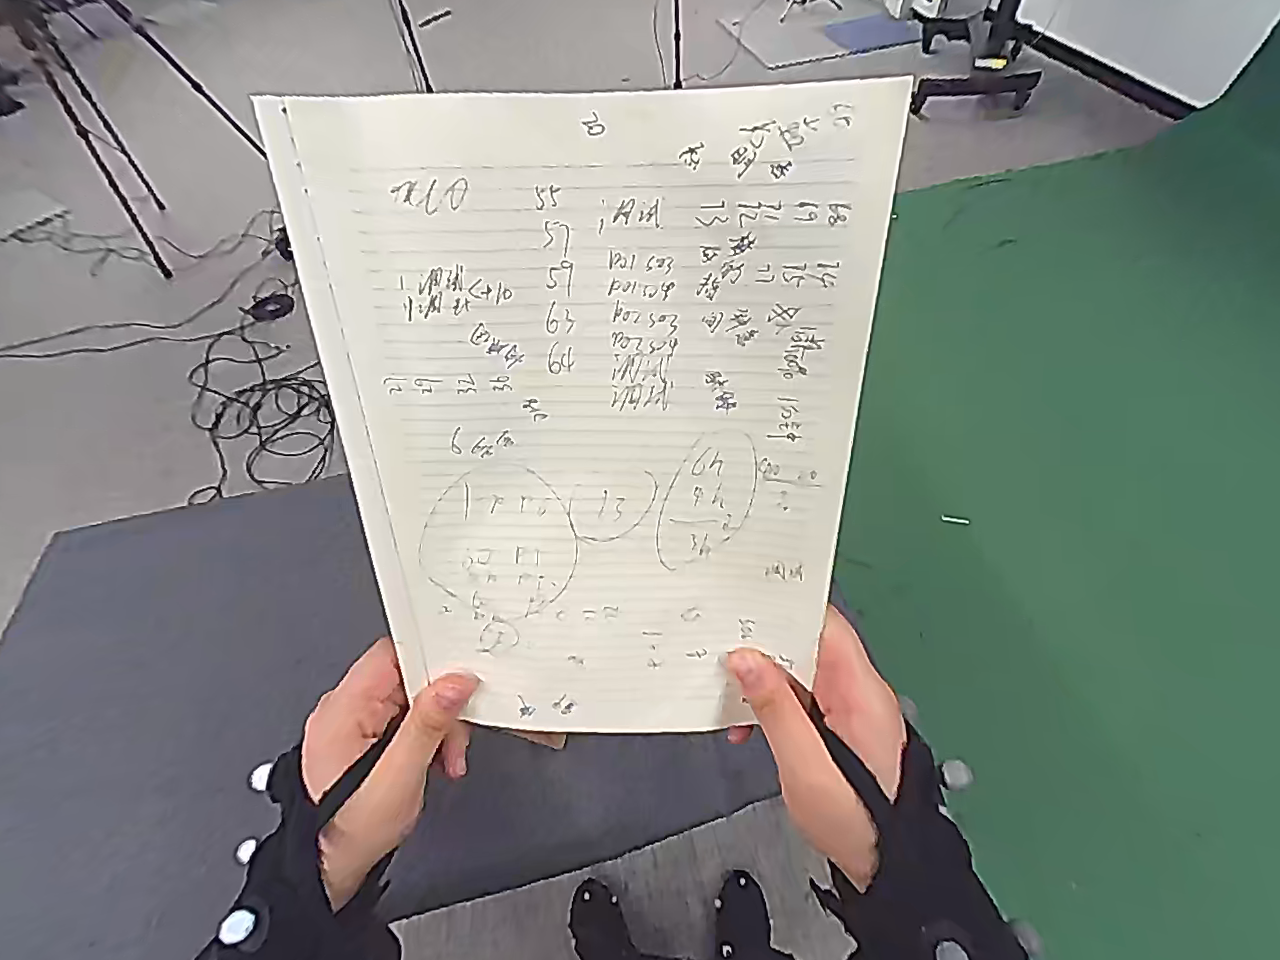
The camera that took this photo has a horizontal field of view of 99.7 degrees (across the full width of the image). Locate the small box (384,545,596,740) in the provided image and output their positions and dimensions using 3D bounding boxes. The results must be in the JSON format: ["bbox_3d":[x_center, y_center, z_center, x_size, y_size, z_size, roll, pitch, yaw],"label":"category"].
[{"bbox_3d":[-0.164,0.205,0.666,0.179,0.176,0.168,10,56,13],"label":"small box"}]
